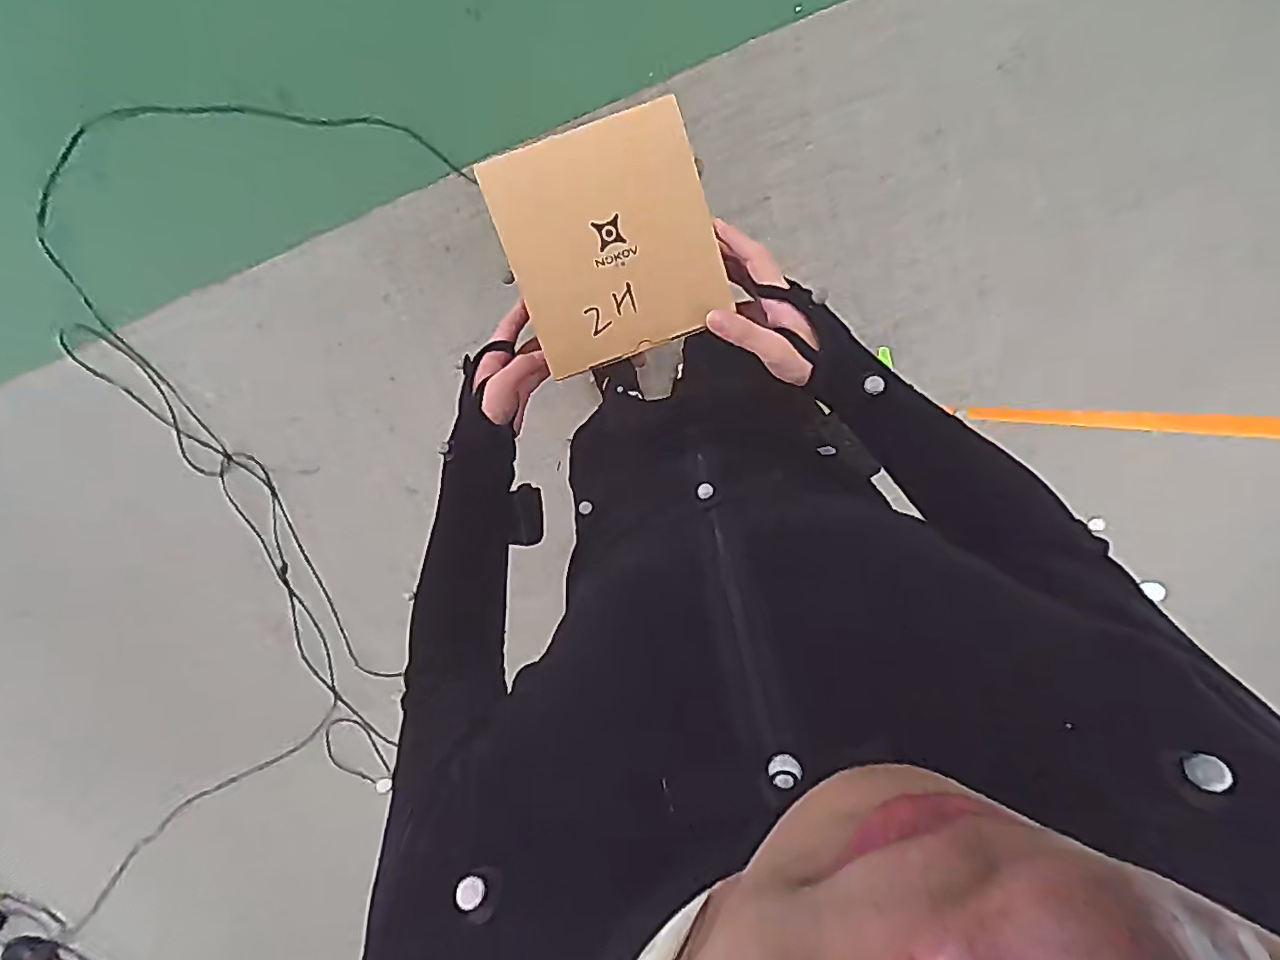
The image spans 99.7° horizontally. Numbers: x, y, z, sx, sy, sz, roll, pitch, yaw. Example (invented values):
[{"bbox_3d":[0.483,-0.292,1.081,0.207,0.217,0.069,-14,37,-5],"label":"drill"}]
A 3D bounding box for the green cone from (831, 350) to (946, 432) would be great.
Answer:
[{"bbox_3d":[0.682,-0.208,1.416,0.202,0.368,0.200,-21,107,3],"label":"green cone"}]
